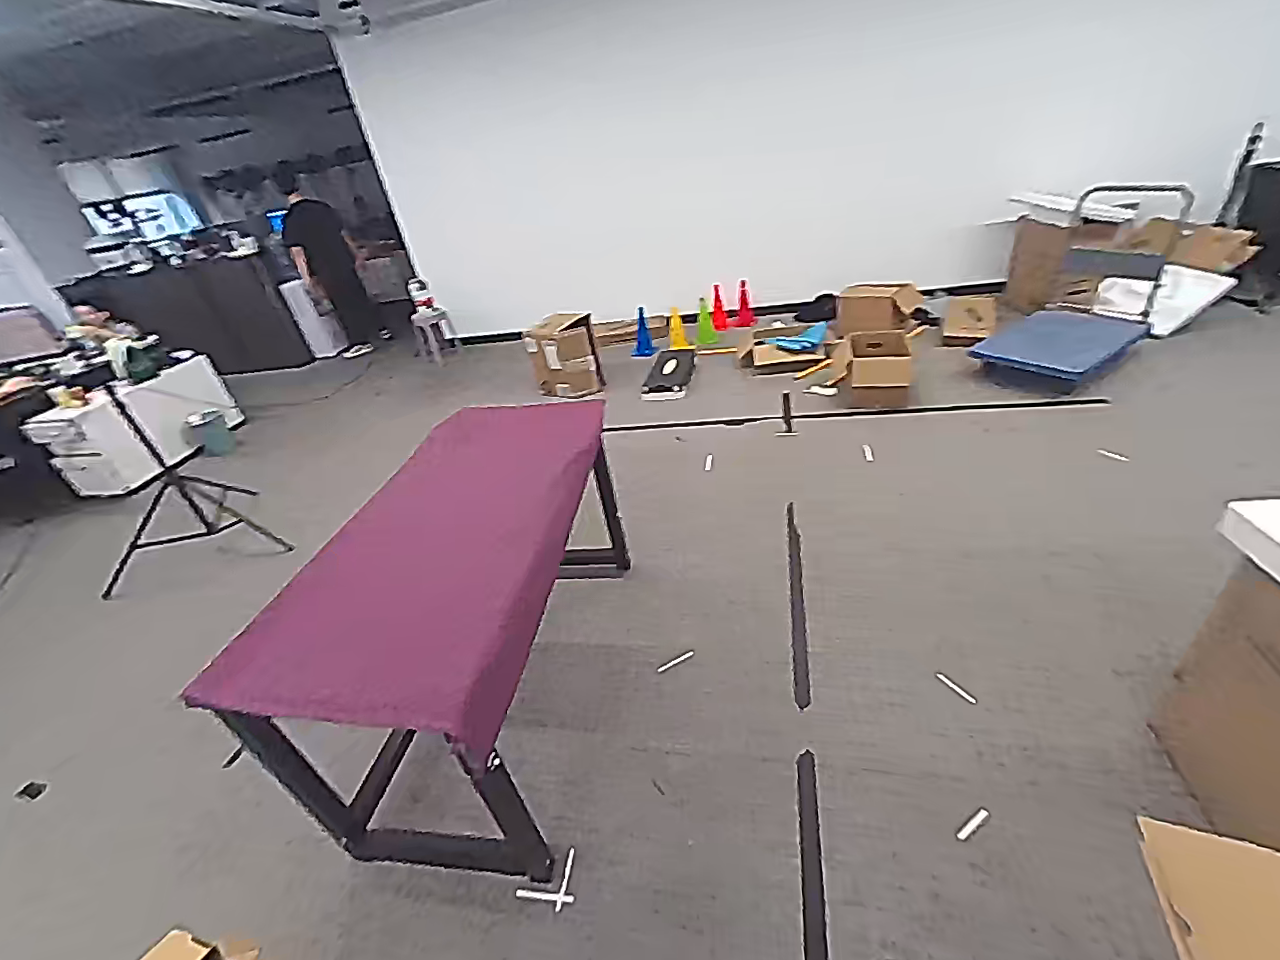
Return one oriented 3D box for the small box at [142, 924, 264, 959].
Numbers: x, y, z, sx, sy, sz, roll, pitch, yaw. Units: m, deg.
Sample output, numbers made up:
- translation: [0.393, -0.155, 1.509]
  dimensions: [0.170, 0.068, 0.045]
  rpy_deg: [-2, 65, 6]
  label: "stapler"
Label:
- translation: [-0.399, 0.544, 0.455]
  dimensions: [0.168, 0.176, 0.179]
  rpy_deg: [0, 17, 21]
  label: "small box"
